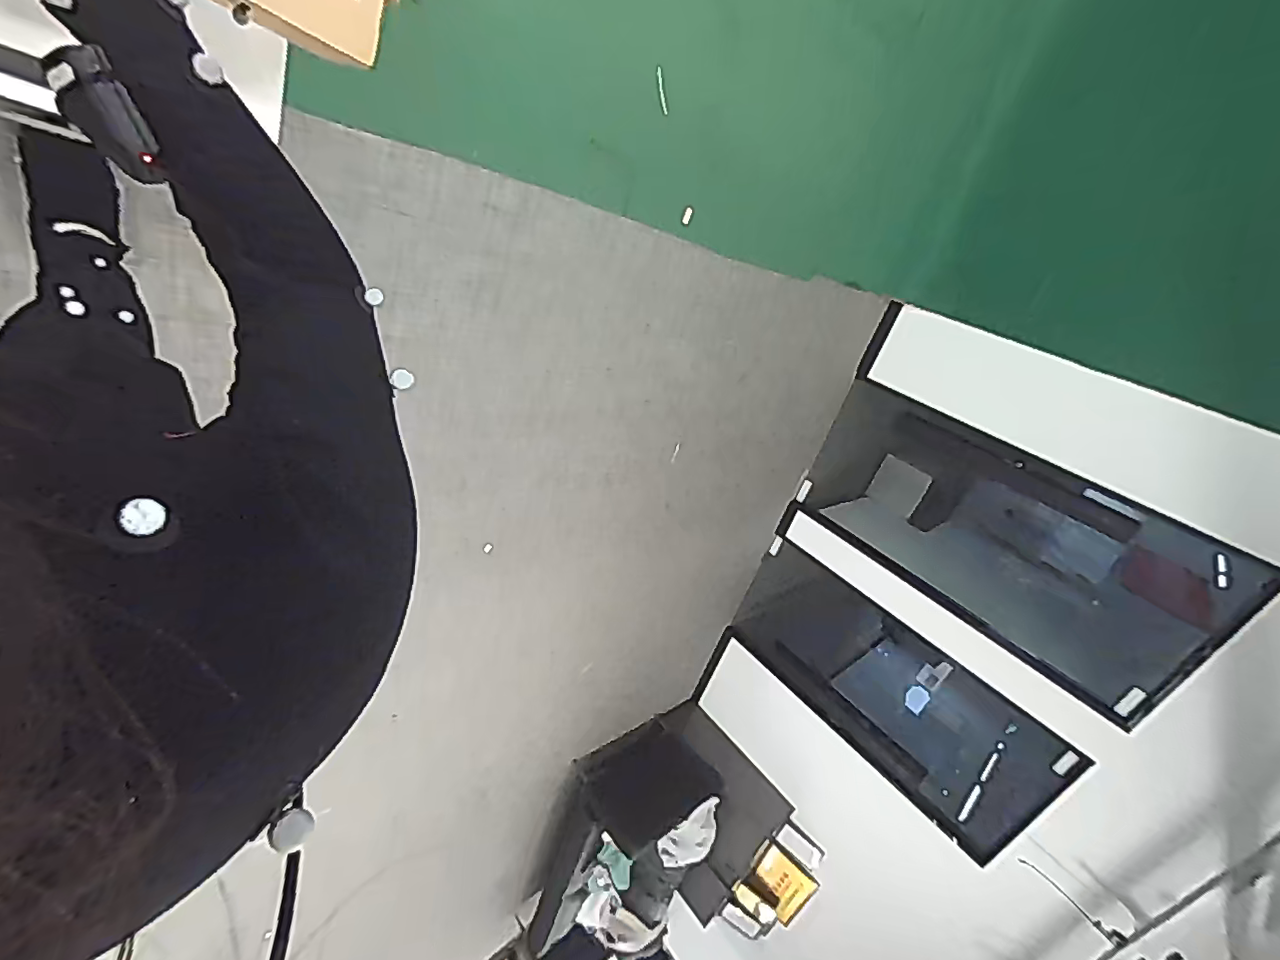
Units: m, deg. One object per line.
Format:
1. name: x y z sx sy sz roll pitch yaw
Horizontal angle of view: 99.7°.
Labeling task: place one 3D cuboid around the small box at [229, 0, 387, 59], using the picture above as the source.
1. small box: -0.326 -0.503 0.463 0.179 0.176 0.168 1 122 -48
